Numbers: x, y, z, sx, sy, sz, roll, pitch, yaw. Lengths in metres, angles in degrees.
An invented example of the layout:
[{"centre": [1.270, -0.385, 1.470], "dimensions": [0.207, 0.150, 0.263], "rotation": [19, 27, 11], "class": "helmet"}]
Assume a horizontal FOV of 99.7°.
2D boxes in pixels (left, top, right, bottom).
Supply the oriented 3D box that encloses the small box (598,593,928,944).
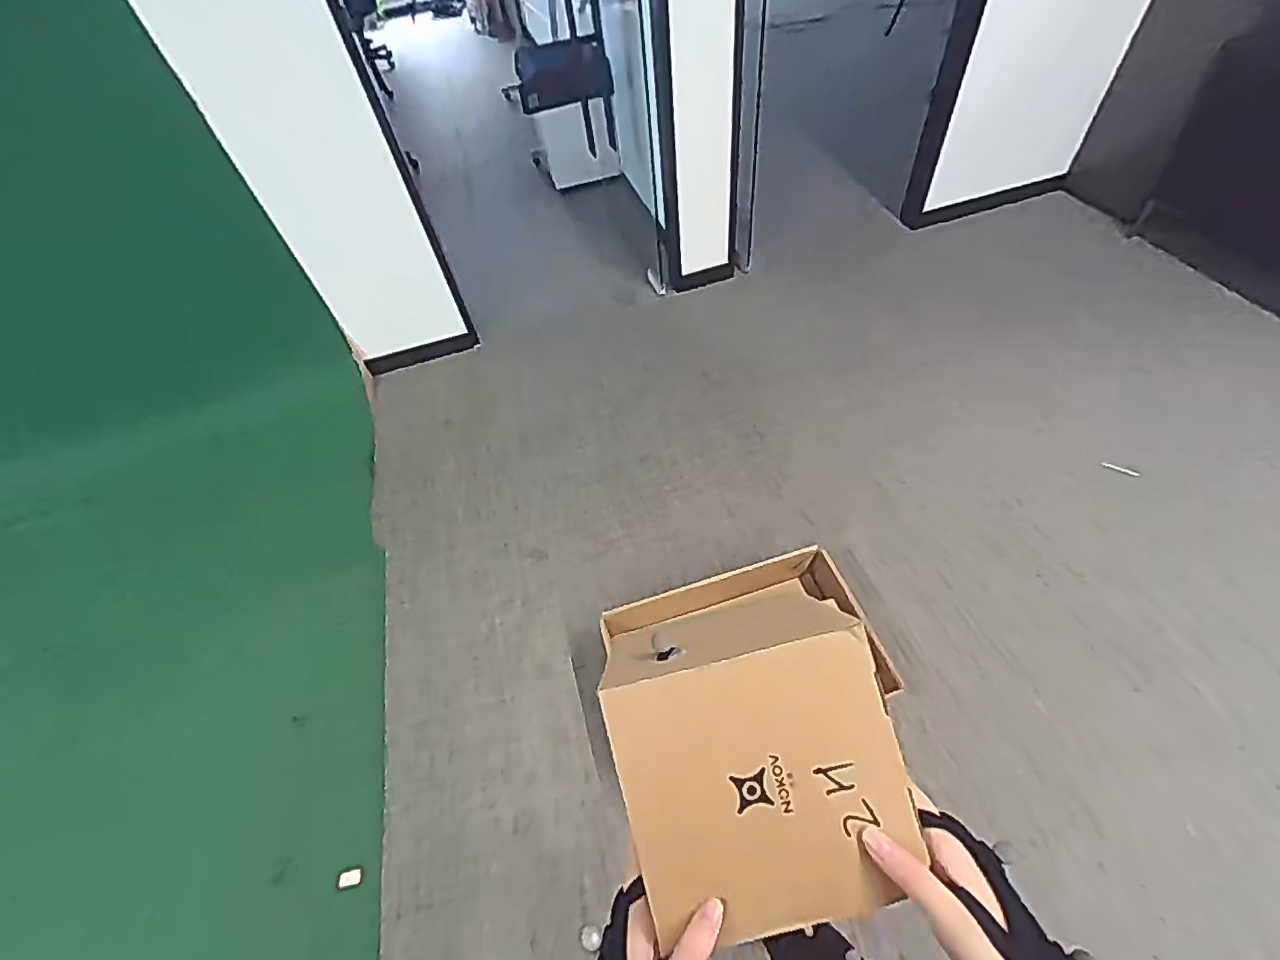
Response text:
[{"centre": [0.078, 0.195, 0.420], "dimensions": [0.179, 0.176, 0.168], "rotation": [-14, 86, 0], "class": "small box"}]
